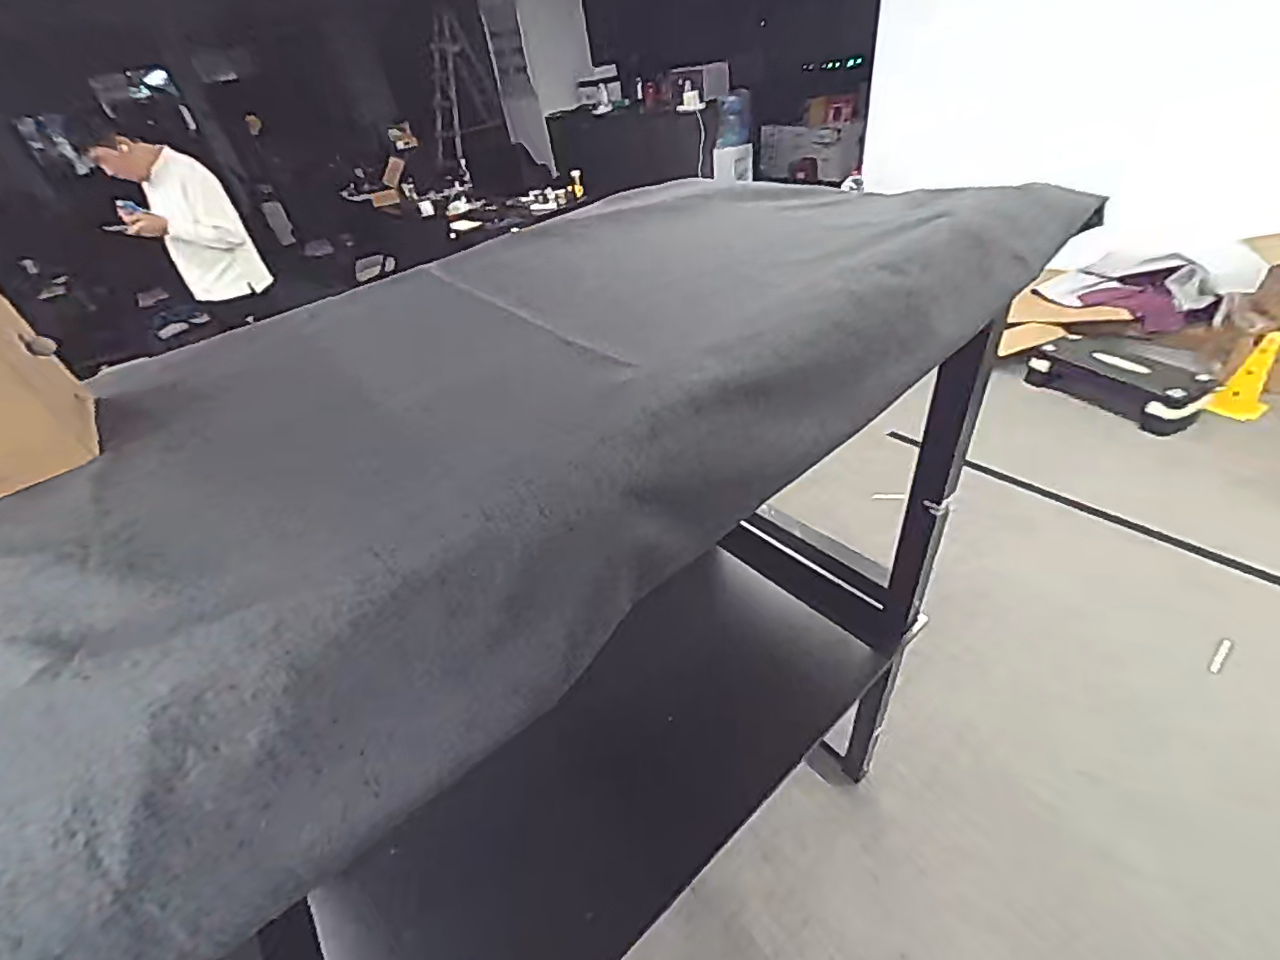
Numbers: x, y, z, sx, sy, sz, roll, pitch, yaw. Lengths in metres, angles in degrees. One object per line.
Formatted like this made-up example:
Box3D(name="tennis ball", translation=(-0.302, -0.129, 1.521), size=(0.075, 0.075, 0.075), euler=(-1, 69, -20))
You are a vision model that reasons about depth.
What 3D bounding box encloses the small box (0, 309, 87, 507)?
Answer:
Box3D(name="small box", translation=(-0.575, -0.062, 0.408), size=(0.179, 0.176, 0.168), euler=(-34, 45, -28))
